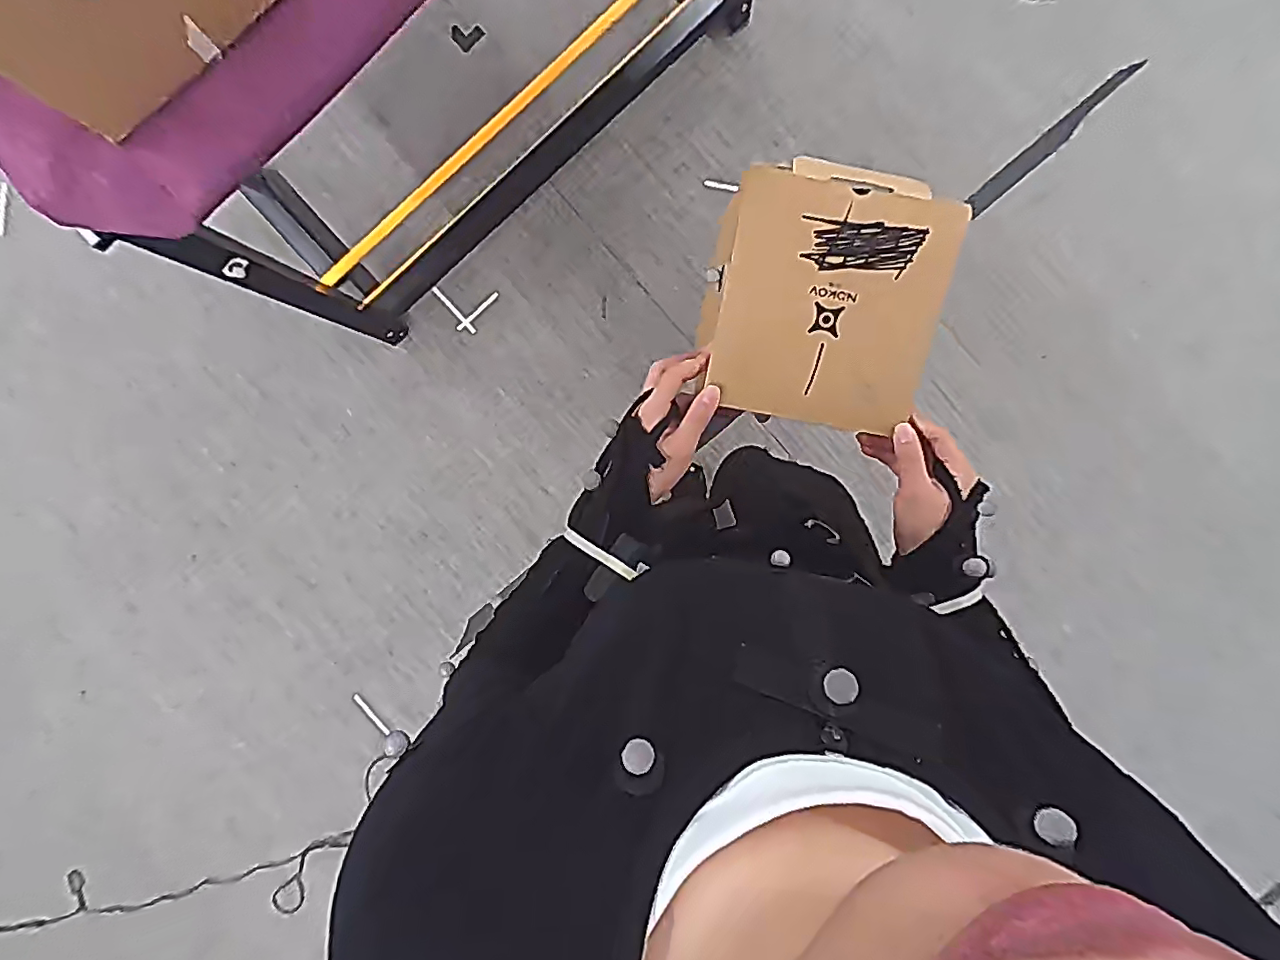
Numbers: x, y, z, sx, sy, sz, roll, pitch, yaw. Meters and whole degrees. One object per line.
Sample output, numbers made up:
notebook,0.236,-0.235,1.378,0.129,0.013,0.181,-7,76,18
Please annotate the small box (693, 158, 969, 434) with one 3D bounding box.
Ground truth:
small box,0.145,-0.152,0.485,0.168,0.176,0.179,10,104,0
